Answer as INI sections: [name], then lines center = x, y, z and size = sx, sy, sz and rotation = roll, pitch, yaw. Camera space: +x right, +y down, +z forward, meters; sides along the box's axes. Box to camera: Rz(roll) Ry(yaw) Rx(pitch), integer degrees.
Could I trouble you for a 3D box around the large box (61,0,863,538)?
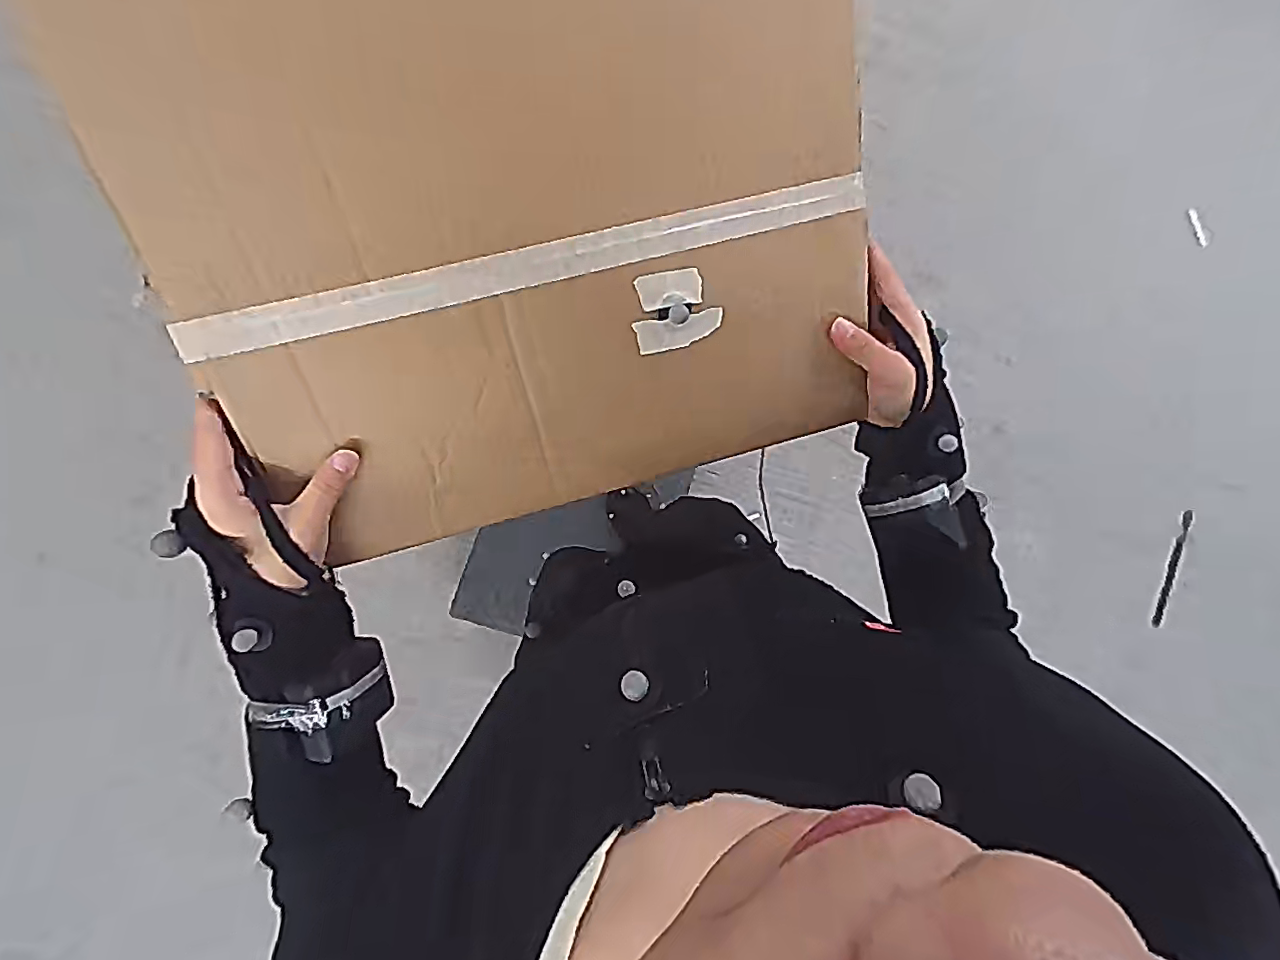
[large box]
center = -0.082, -0.201, 0.459
size = 0.408, 0.320, 0.320
rotation = -15, 116, -8
